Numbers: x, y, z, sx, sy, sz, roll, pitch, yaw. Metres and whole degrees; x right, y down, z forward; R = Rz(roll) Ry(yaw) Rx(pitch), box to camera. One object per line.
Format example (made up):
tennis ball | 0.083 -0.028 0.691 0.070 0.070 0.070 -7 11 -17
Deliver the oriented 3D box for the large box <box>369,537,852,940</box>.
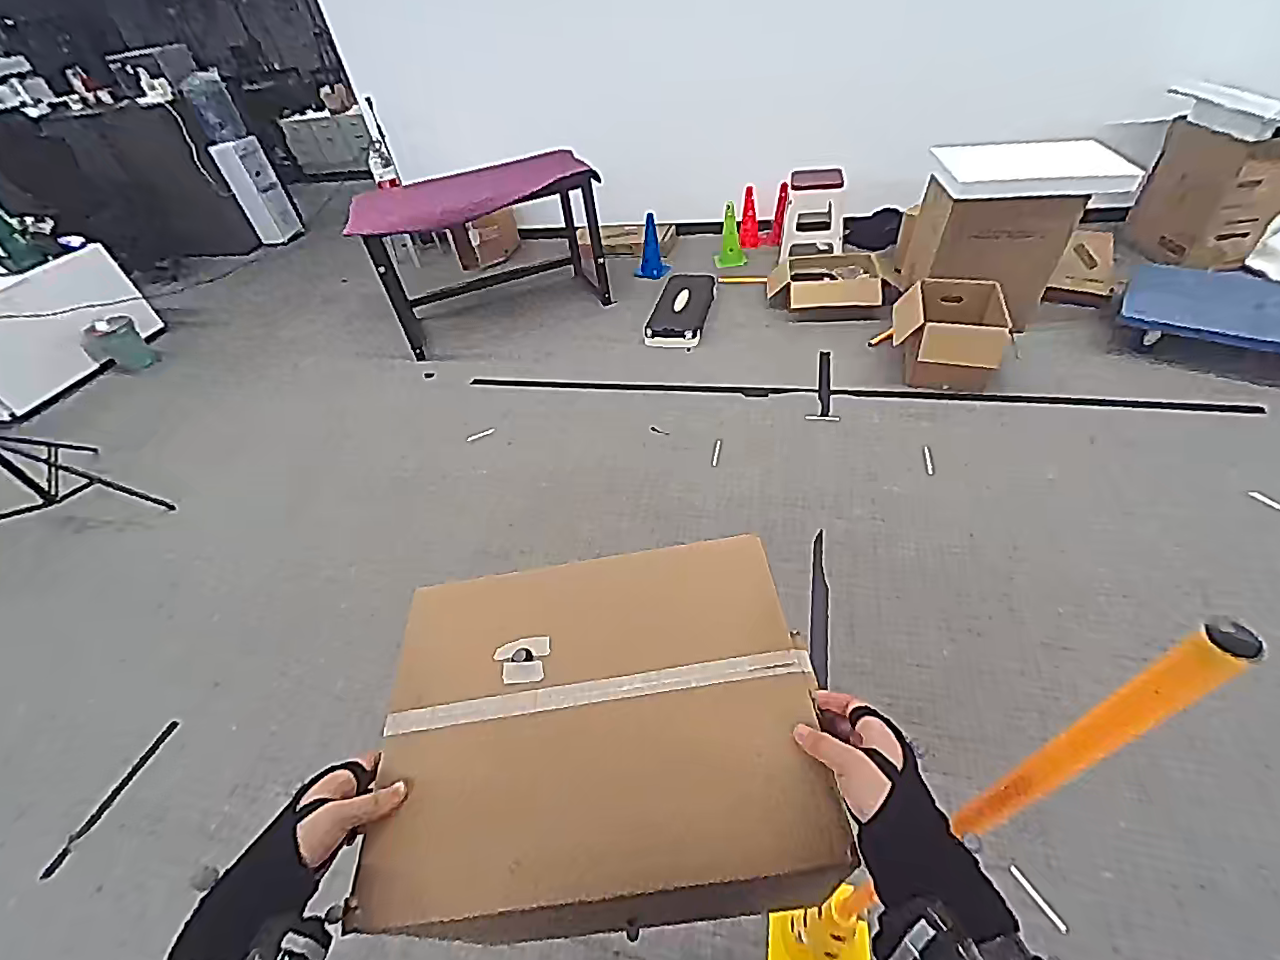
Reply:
large box | -0.017 0.311 0.637 0.408 0.320 0.320 -11 45 4
